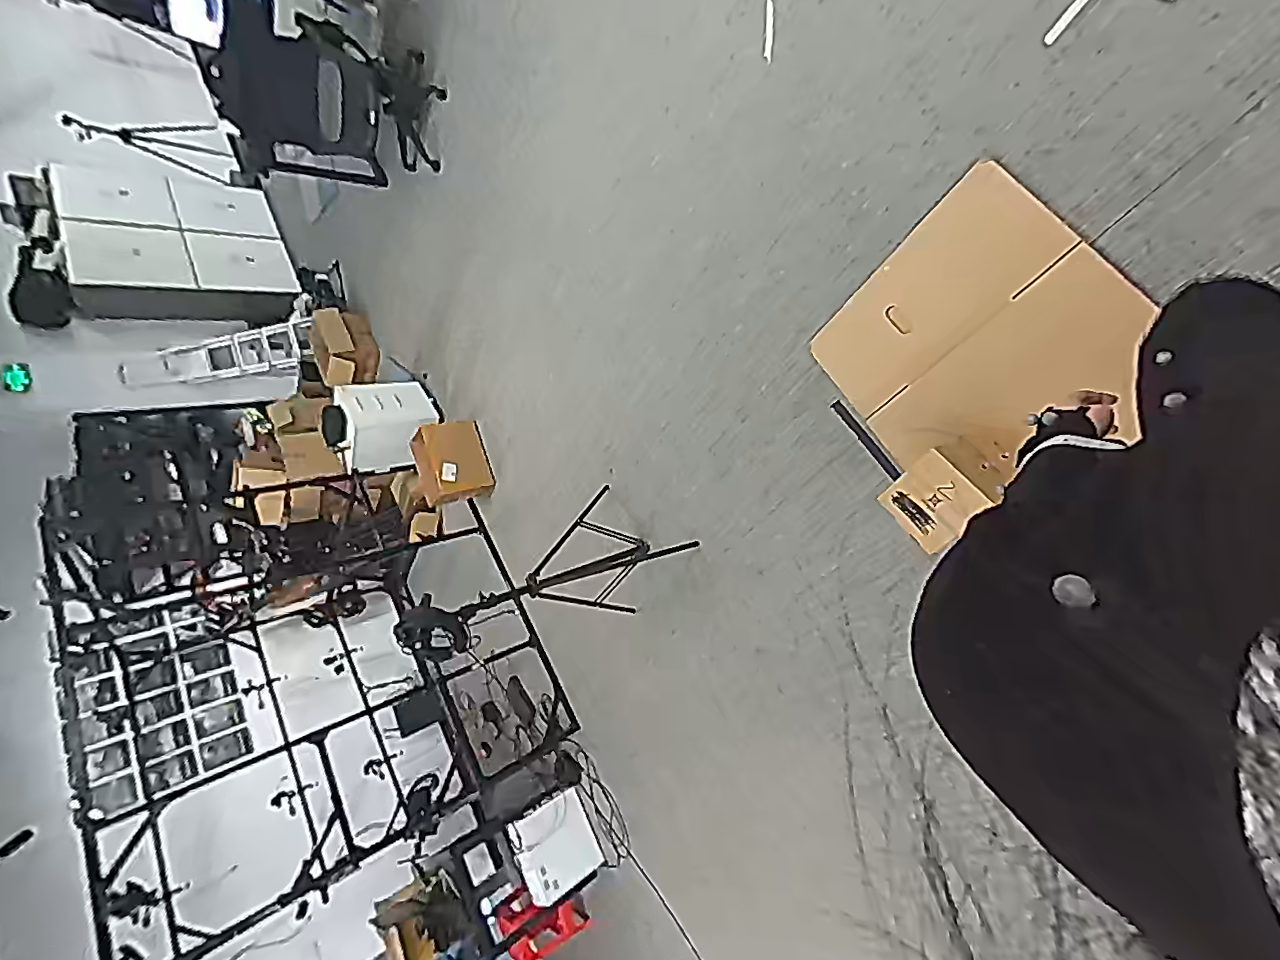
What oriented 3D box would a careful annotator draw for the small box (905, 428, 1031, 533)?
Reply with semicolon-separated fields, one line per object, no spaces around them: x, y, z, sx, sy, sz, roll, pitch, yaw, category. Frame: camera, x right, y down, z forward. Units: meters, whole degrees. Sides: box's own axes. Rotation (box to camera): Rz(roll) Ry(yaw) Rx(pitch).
0.787;-0.003;1.297;0.168;0.176;0.179;51;134;25;small box
